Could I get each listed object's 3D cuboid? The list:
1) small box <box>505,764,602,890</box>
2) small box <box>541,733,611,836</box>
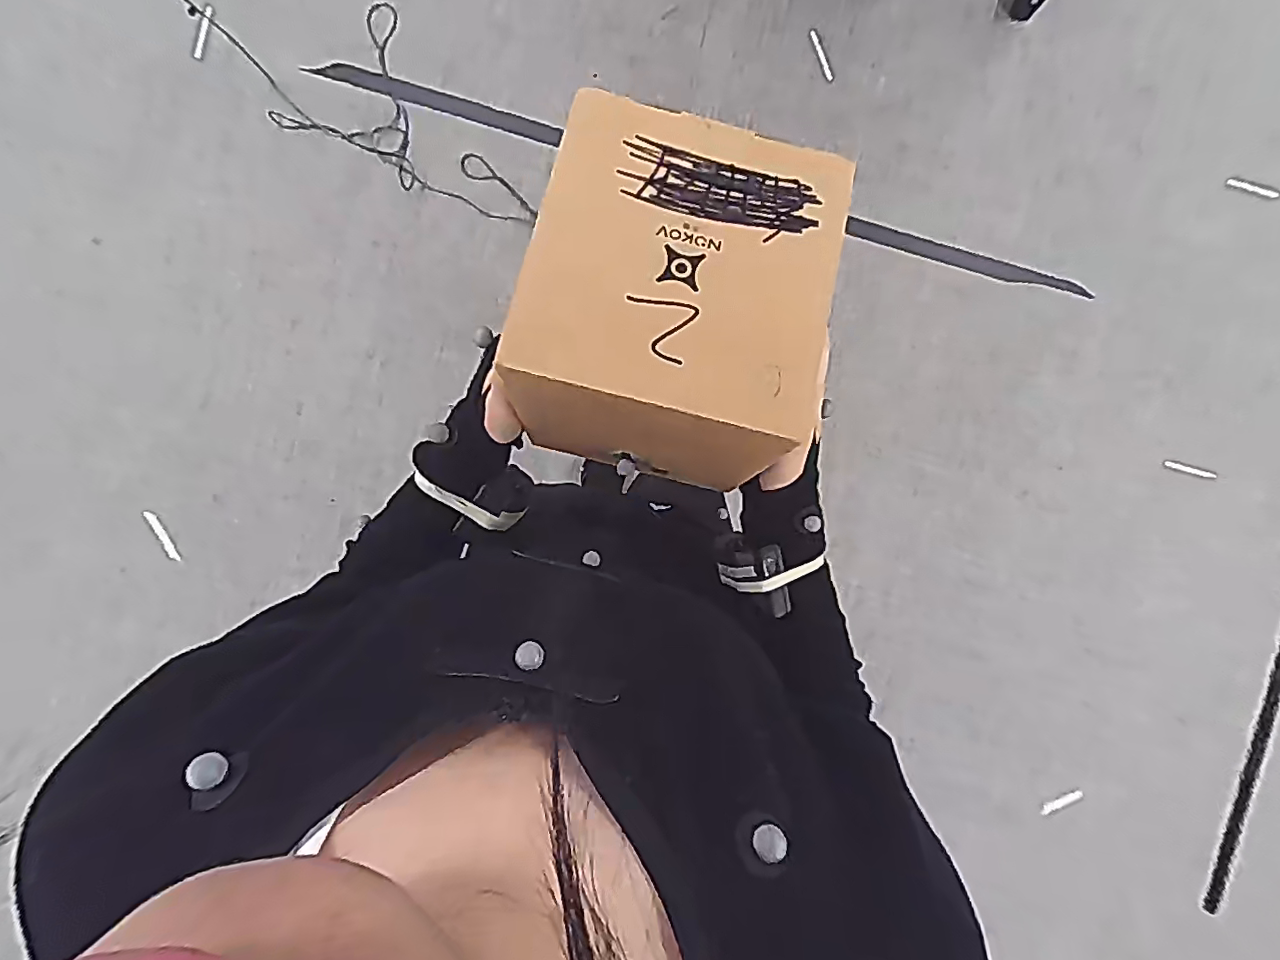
[{"bbox_3d":[-0.190,0.780,1.235,0.179,0.176,0.168,12,92,-3],"label":"small box"},{"bbox_3d":[-0.174,0.780,1.401,0.179,0.176,0.168,8,91,-3],"label":"small box"}]
